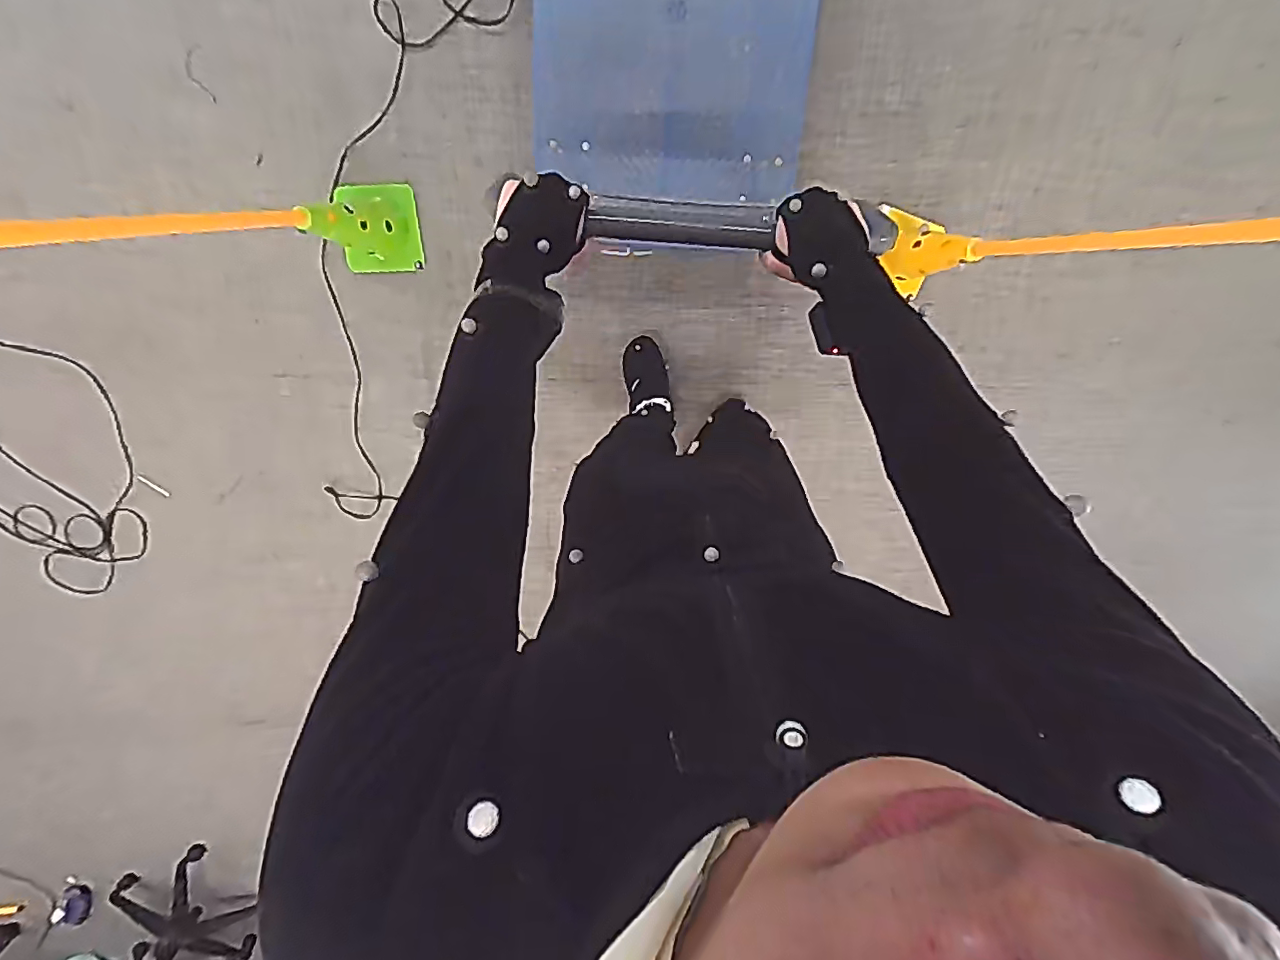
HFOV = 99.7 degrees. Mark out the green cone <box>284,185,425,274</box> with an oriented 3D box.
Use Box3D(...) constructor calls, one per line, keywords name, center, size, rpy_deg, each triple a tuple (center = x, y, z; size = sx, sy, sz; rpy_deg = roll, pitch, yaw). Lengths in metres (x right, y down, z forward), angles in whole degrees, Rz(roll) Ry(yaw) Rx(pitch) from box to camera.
Box3D(name="green cone", center=(-0.661, -0.572, 1.210), size=(0.202, 0.368, 0.200), rpy_deg=(-2, 111, 2))
